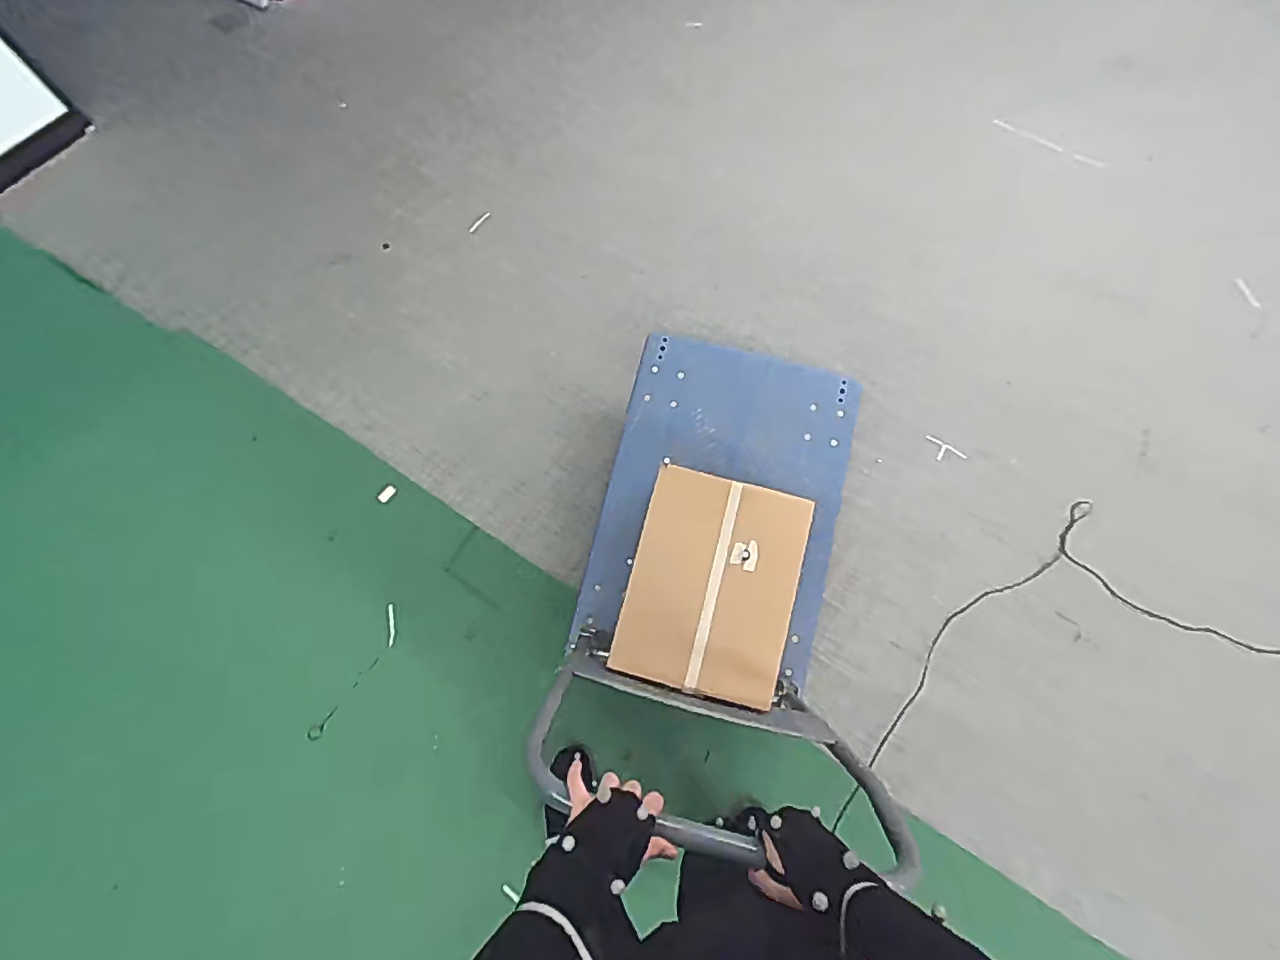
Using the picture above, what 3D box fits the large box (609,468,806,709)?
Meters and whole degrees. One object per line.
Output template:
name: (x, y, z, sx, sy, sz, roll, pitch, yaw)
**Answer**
large box: (0.136, 0.230, 1.182, 0.320, 0.320, 0.408, 15, 79, 2)
